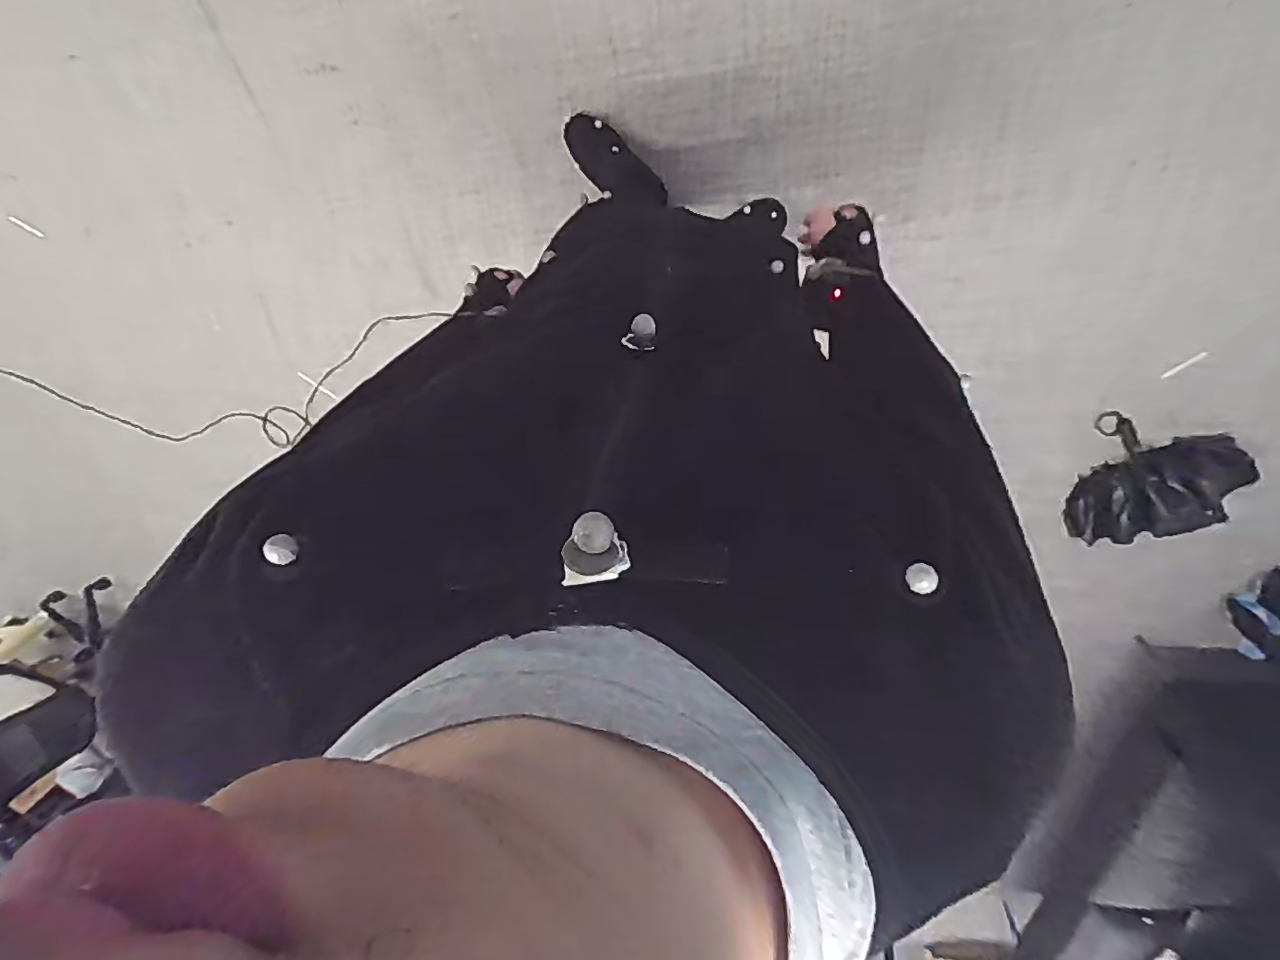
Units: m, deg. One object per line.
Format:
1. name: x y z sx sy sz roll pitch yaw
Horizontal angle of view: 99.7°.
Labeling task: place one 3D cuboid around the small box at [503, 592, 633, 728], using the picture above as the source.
1. small box: -0.117 0.314 0.964 0.168 0.176 0.179 -8 123 14

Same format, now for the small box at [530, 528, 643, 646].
1. small box: -0.097 0.222 1.099 0.168 0.176 0.179 -9 123 14
